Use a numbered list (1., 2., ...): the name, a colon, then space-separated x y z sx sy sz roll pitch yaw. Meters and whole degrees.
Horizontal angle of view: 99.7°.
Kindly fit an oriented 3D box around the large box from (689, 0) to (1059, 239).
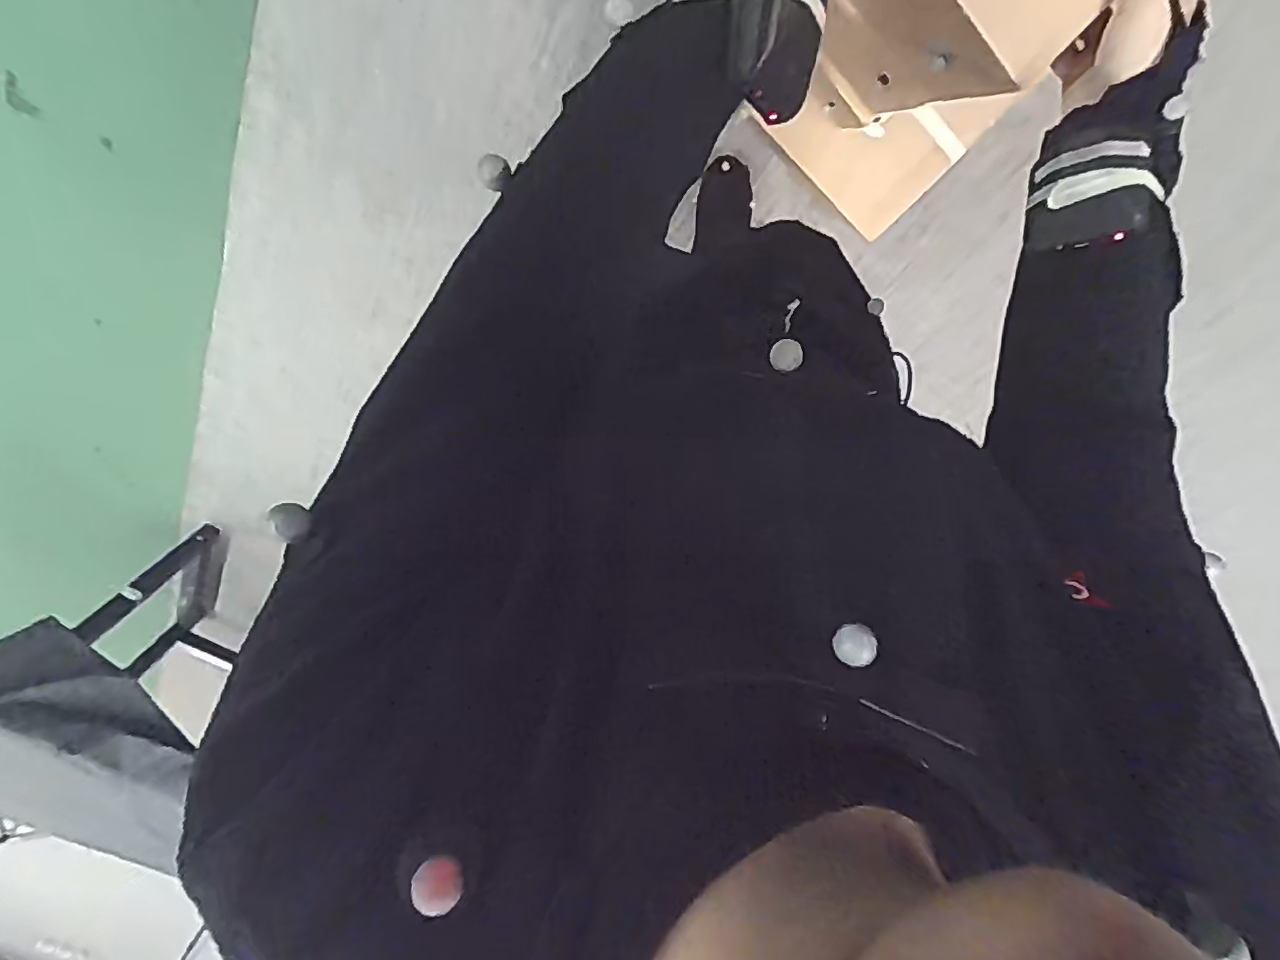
1. large box: 0.325 -0.668 0.860 0.408 0.320 0.320 36 121 -17

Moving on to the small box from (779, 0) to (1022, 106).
1. small box: 0.251 -0.485 0.506 0.179 0.176 0.168 37 118 -17

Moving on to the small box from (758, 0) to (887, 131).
1. small box: 0.263 -0.558 0.651 0.179 0.176 0.168 38 118 -15
